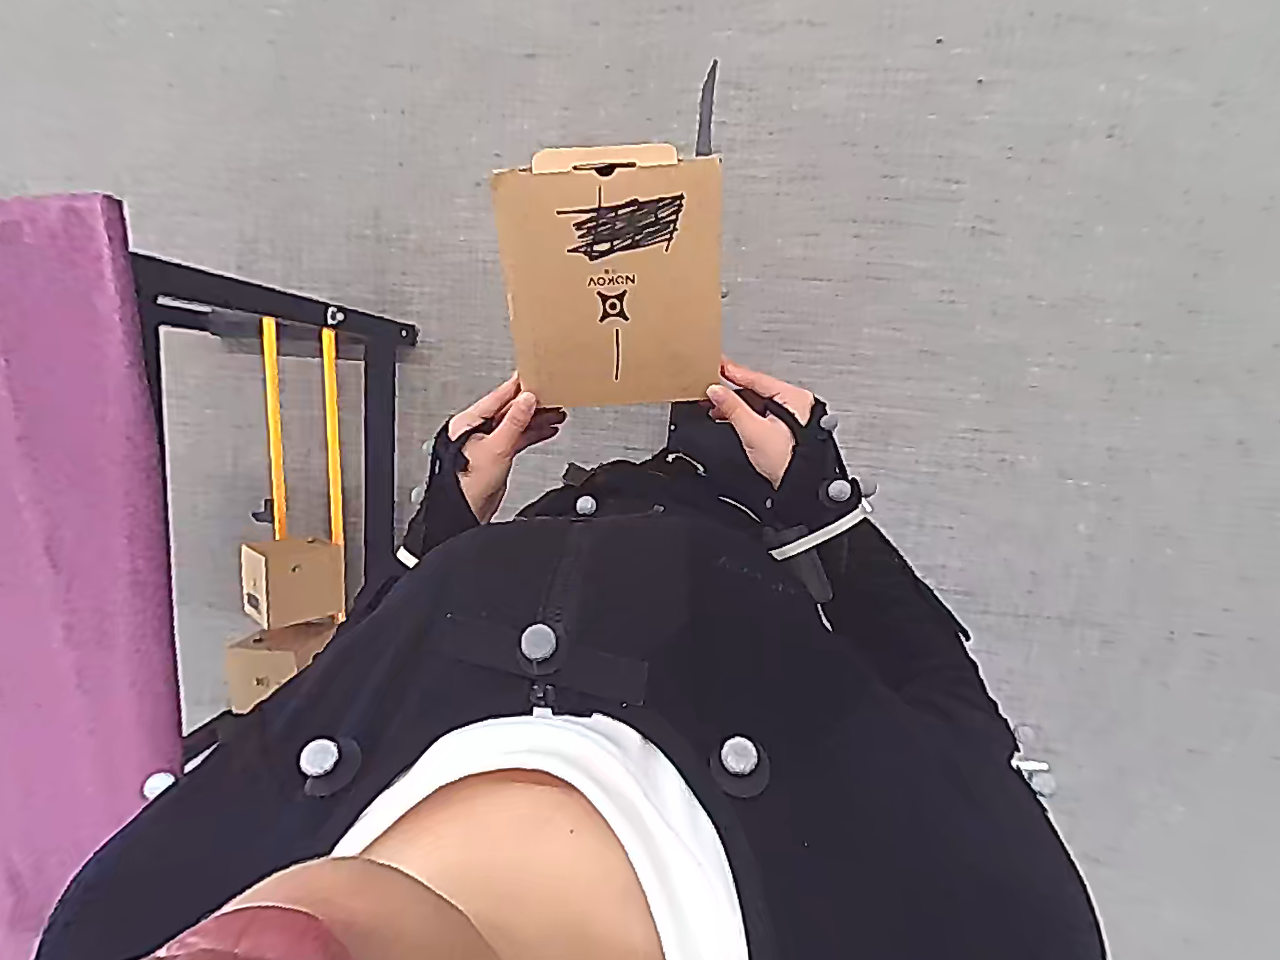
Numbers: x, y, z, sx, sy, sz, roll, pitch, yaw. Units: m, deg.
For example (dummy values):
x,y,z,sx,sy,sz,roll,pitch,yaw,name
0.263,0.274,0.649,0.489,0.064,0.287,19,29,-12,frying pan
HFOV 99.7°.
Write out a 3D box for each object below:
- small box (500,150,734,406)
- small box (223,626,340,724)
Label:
x,y,z,sx,sy,sz,roll,pitch,yaw,name
-0.014,-0.173,0.477,0.168,0.176,0.179,-2,113,1,small box
-0.871,0.470,1.326,0.179,0.176,0.168,2,98,5,small box
